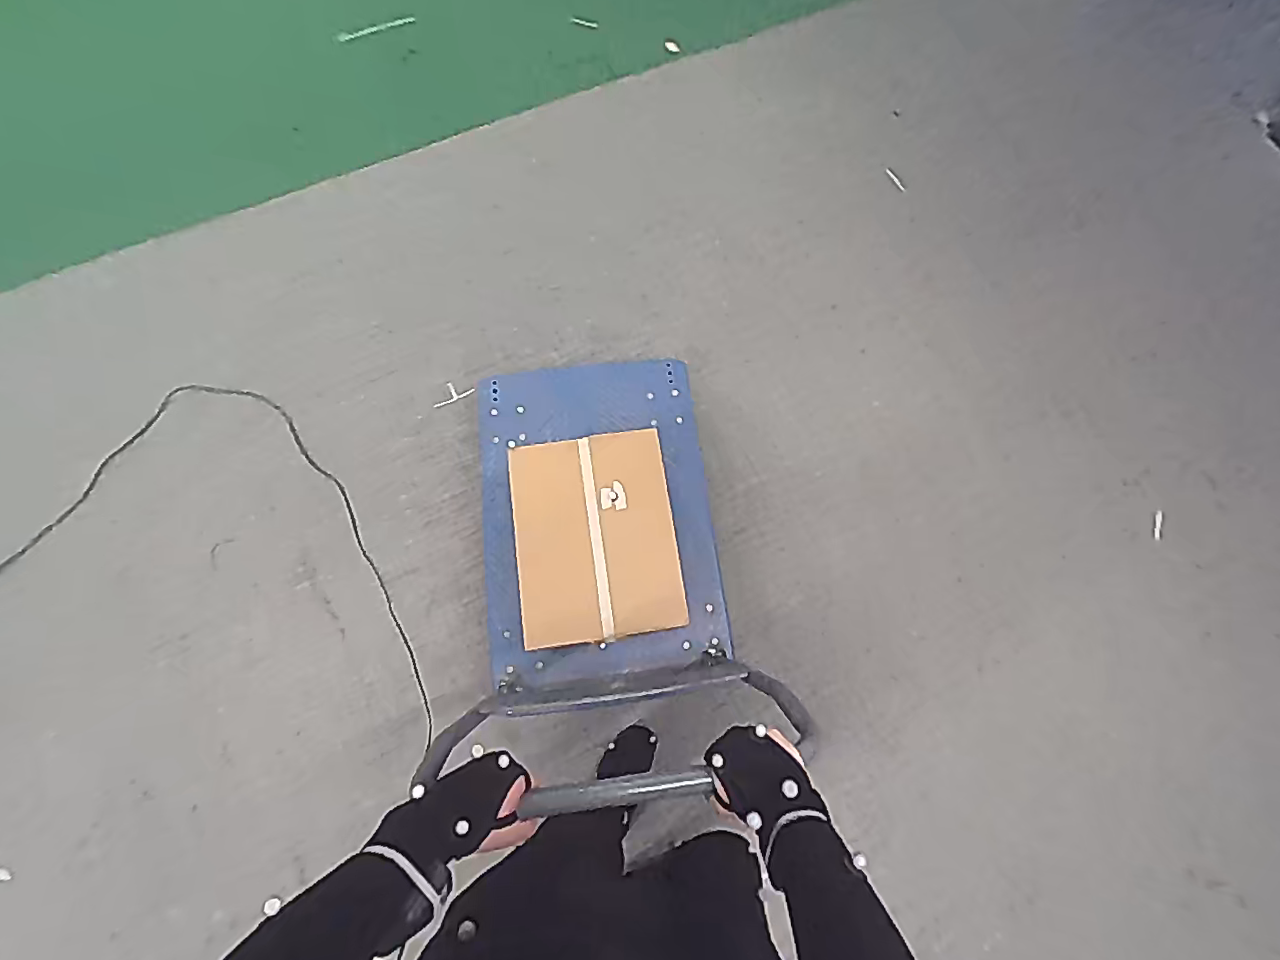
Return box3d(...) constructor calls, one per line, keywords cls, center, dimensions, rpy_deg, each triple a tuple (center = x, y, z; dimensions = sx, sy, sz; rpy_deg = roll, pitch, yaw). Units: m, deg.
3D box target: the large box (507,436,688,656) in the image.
box3d(cls="large box", center=(-0.093, 0.159, 1.212), dimensions=(0.320, 0.320, 0.408), rpy_deg=(-8, 74, -4))
